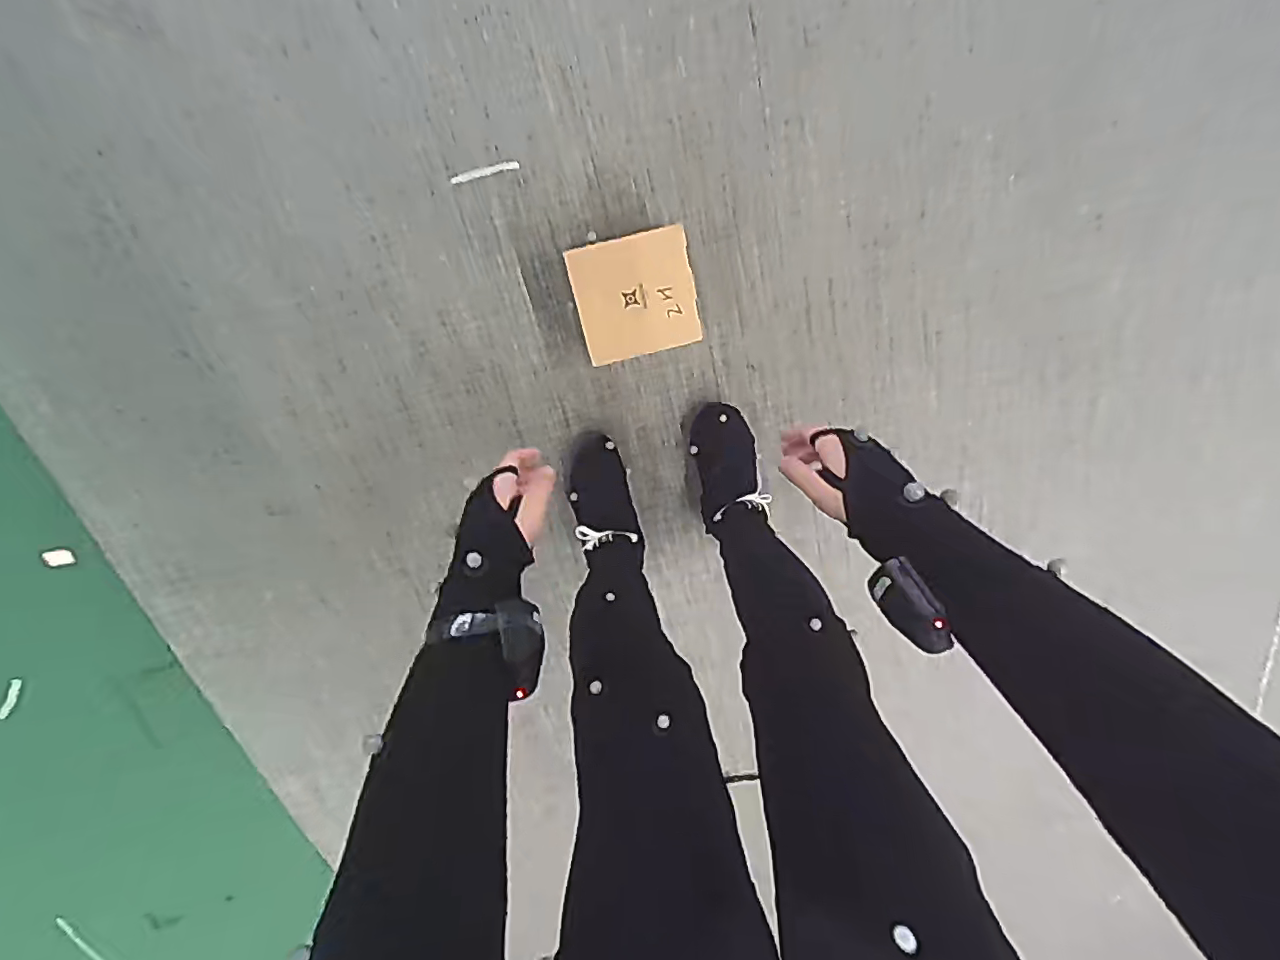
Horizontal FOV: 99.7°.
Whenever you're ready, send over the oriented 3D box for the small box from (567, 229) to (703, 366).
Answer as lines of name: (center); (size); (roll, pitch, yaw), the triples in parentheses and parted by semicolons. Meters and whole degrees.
small box: (-0.012, -0.292, 0.868); (0.179, 0.176, 0.168); (-14, 112, -2)
